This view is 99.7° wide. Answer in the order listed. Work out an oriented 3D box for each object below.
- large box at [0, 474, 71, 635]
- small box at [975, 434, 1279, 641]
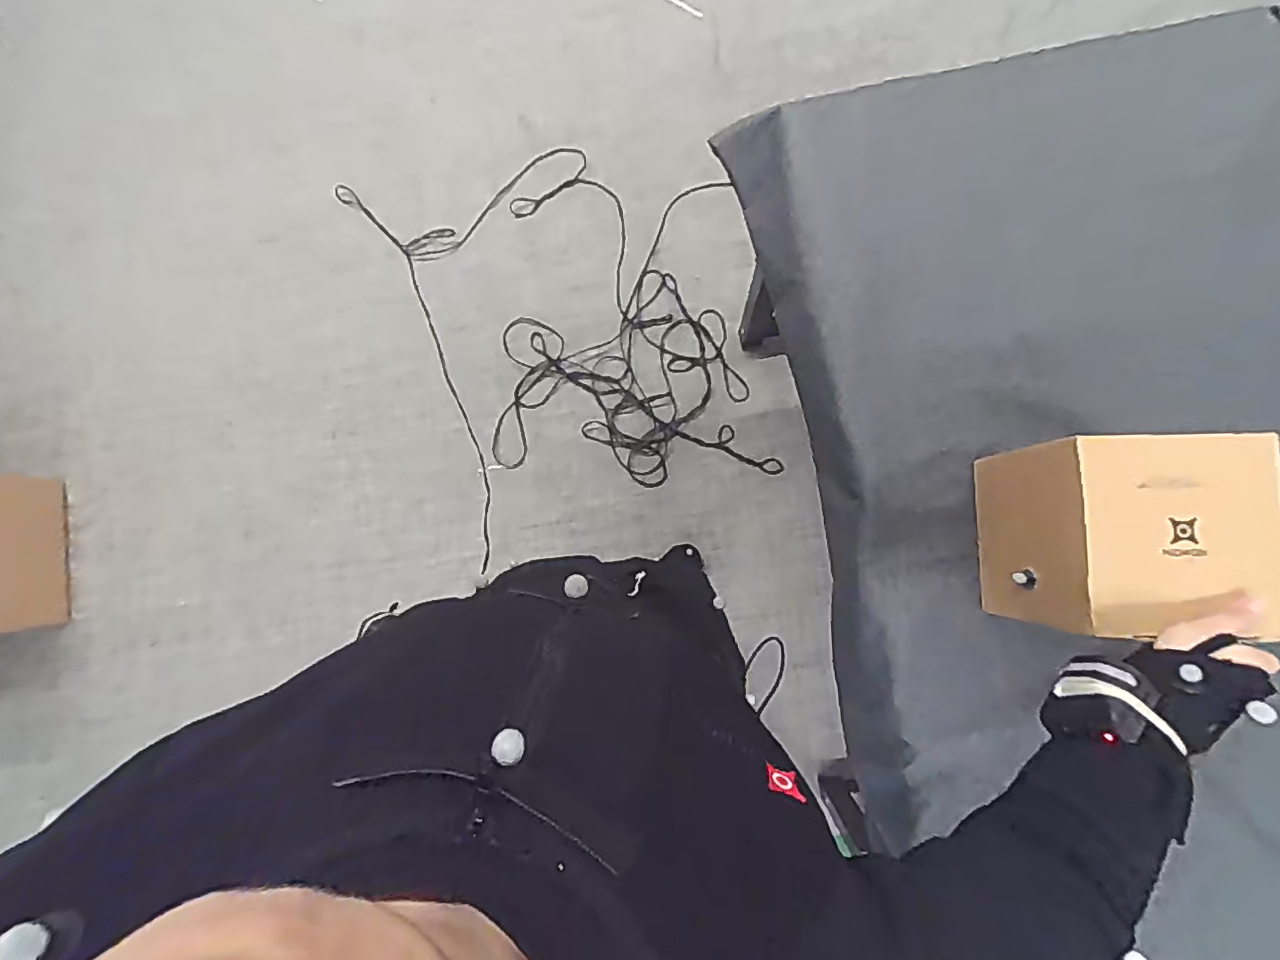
[{"bbox_3d":[-1.747,0.205,1.364,0.320,0.320,0.408,-10,83,3],"label":"large box"},{"bbox_3d":[0.465,0.055,0.539,0.168,0.176,0.179,-1,84,3],"label":"small box"}]
